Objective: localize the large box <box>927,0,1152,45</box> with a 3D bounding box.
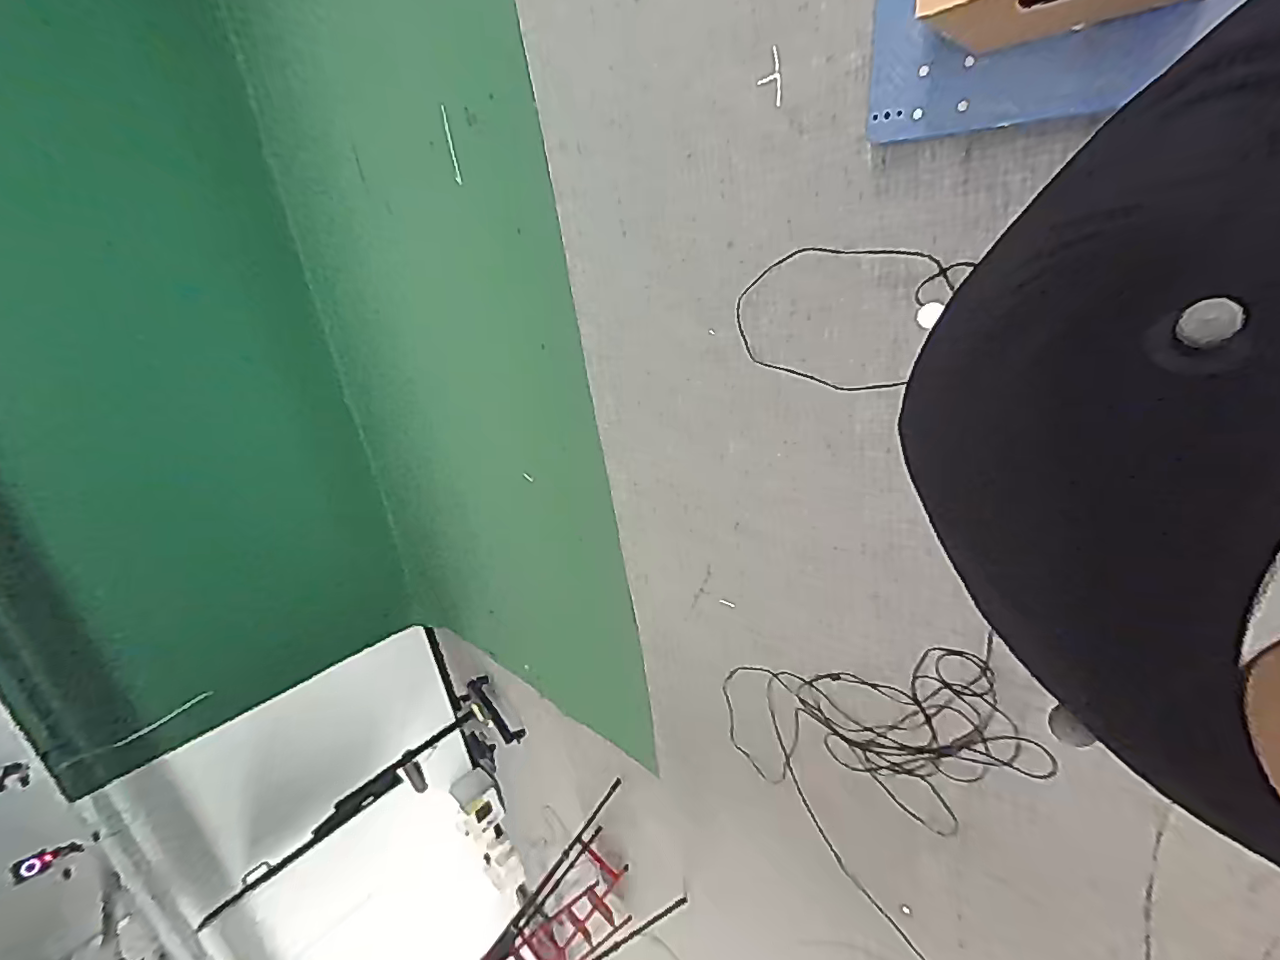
[{"bbox_3d":[0.607,-0.880,0.703,0.320,0.320,0.408,17,122,41],"label":"large box"}]
